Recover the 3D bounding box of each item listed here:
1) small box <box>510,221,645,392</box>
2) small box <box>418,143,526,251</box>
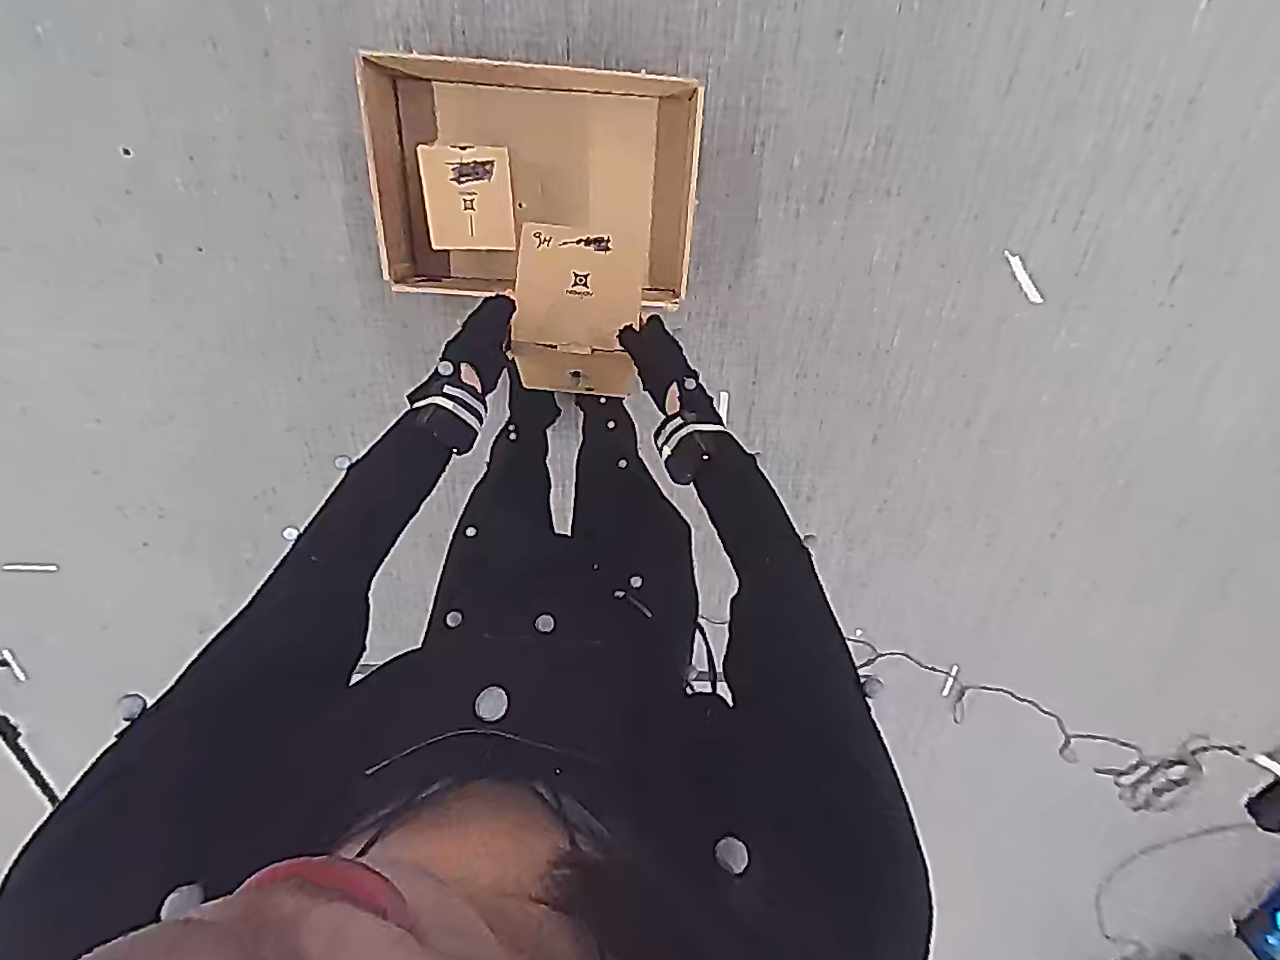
[{"bbox_3d":[-0.087,-0.238,0.784,0.168,0.176,0.179,4,79,-5],"label":"small box"},{"bbox_3d":[-0.323,-0.557,1.079,0.168,0.176,0.179,0,116,-3],"label":"small box"}]
